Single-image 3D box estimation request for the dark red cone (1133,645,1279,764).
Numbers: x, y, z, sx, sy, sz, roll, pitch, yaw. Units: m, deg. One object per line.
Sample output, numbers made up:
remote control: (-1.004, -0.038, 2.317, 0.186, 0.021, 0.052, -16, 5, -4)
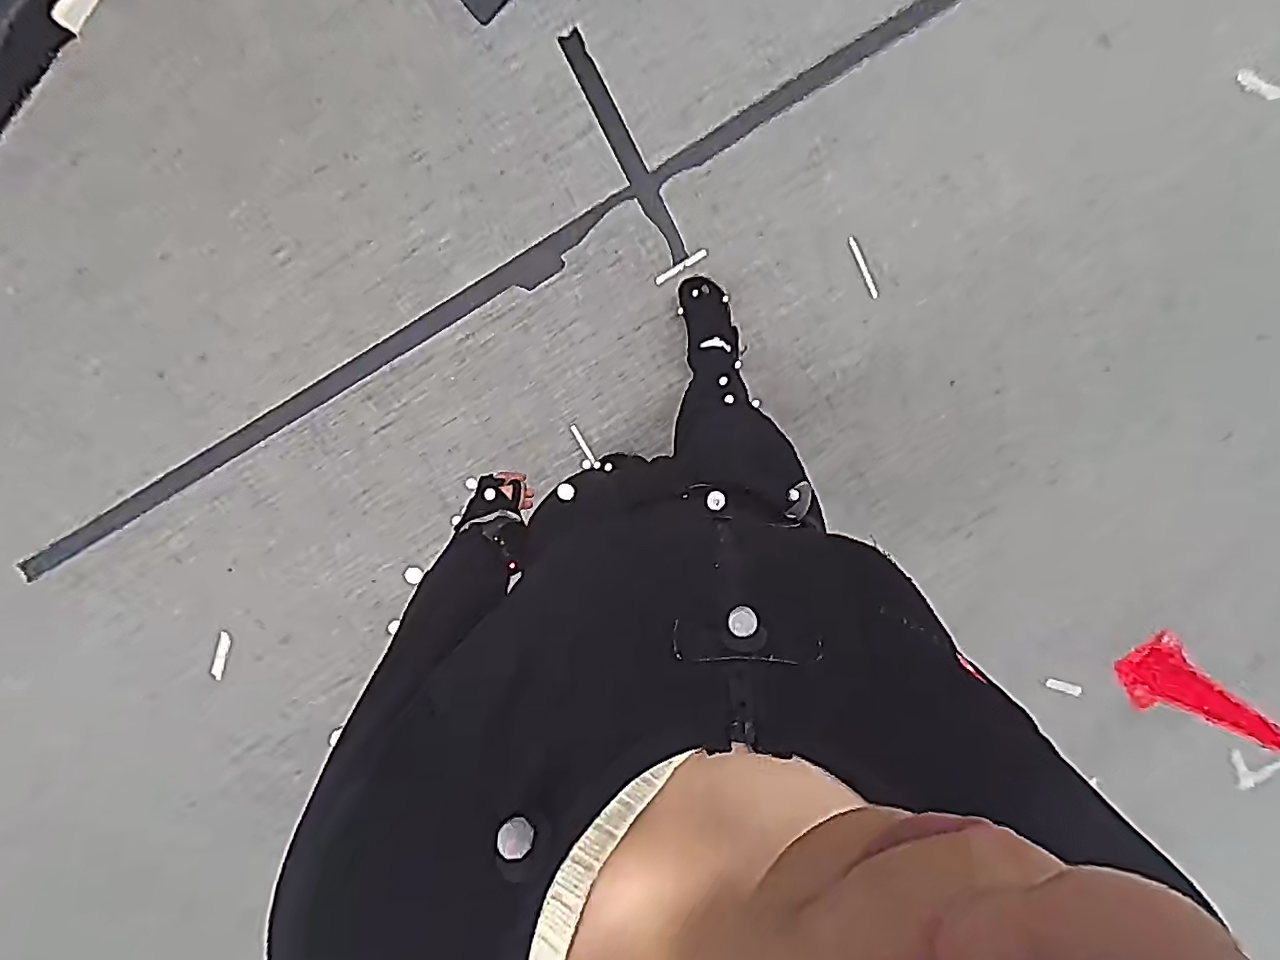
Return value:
dark red cone: (1.526, 0.619, 1.380, 0.201, 0.394, 0.202, -37, 101, 5)
